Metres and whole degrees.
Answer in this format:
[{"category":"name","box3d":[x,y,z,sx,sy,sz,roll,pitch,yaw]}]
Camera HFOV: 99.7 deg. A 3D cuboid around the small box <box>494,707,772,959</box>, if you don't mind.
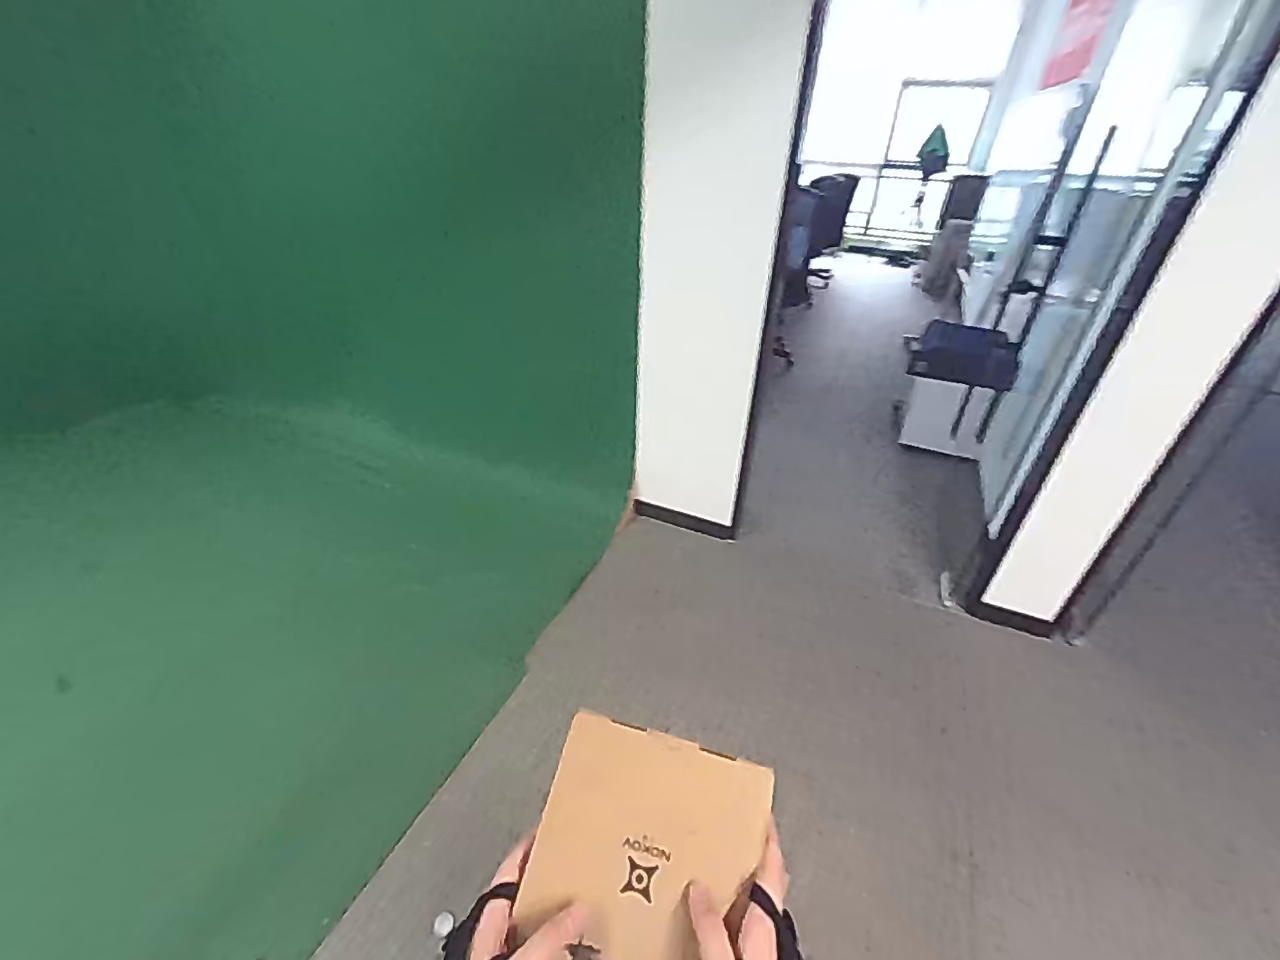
[{"category":"small box","box3d":[0.002,0.315,0.458,0.168,0.176,0.179,13,62,9]}]
